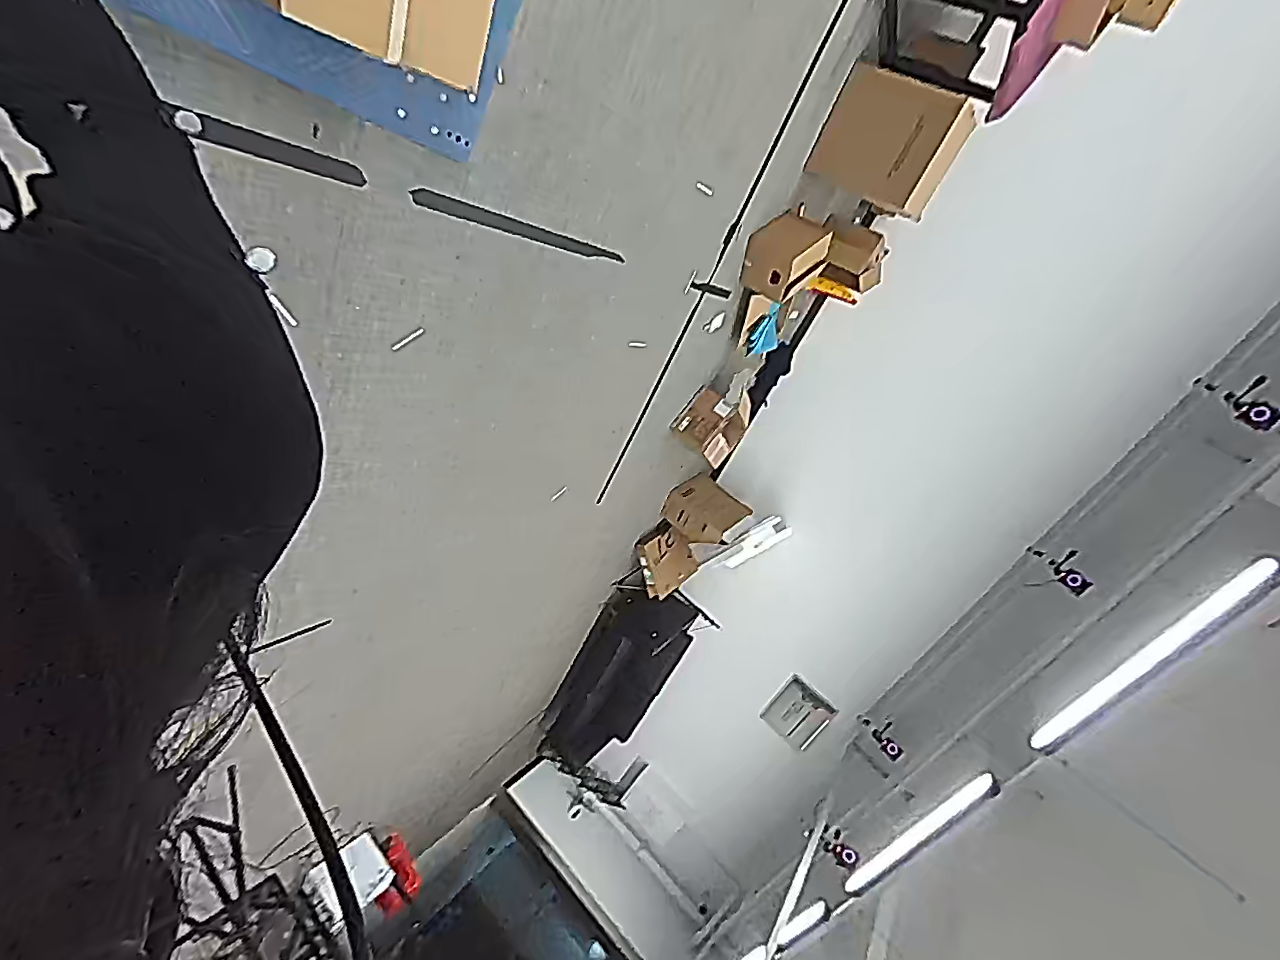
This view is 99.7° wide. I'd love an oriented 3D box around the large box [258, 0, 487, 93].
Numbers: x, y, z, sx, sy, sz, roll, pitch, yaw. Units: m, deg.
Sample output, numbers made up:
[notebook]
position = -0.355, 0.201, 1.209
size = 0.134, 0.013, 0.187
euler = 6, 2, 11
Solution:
[large box]
position = -0.430, -0.915, 0.822
size = 0.320, 0.320, 0.408
euler = -13, 138, -49
